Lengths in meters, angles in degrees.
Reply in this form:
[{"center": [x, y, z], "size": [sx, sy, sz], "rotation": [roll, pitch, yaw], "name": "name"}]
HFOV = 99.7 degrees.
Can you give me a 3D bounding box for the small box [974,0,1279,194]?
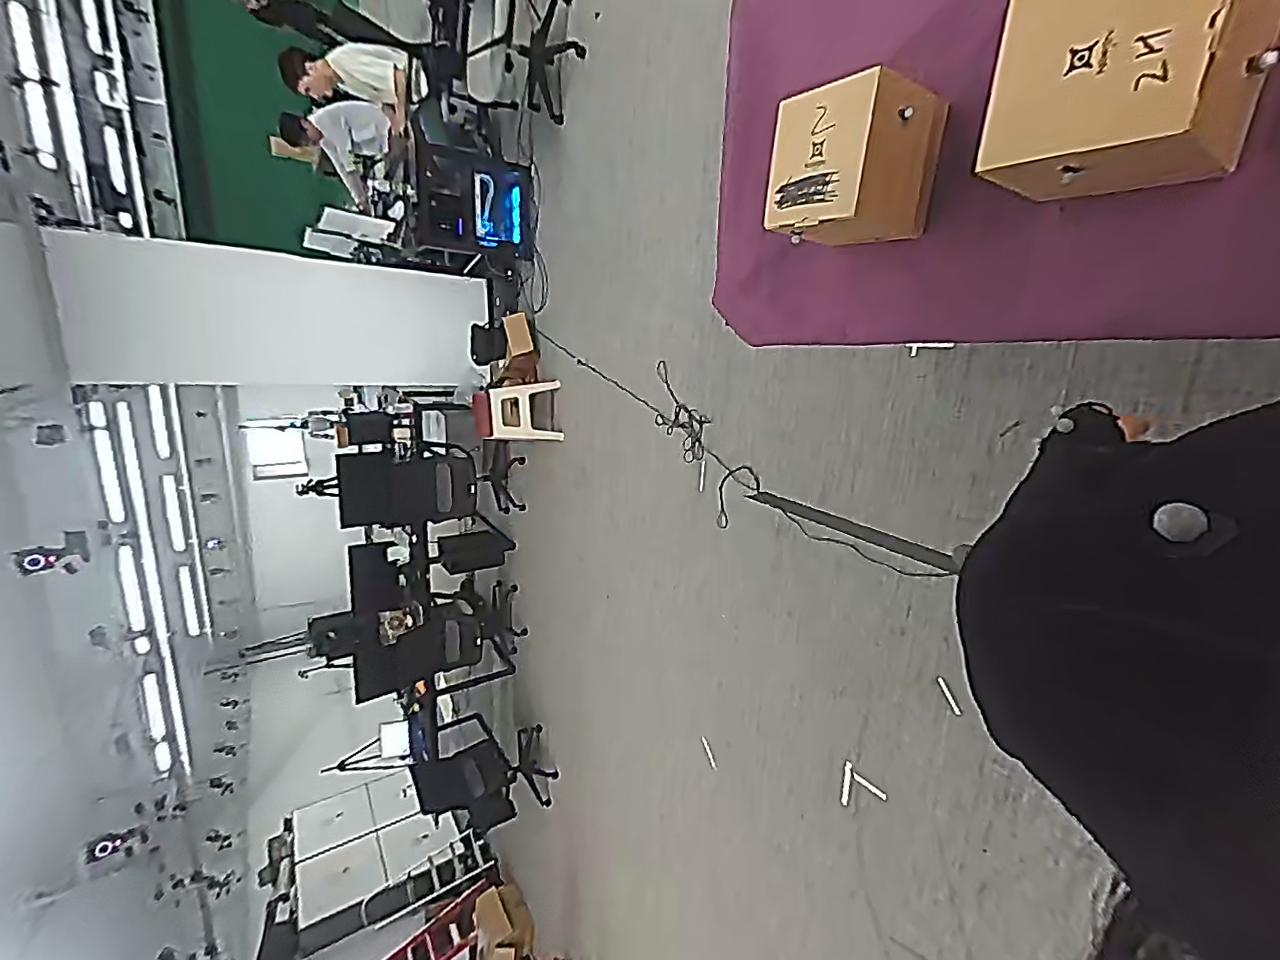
[{"center": [0.482, -0.400, 0.540], "size": [0.179, 0.176, 0.168], "rotation": [25, 117, 53], "name": "small box"}]
